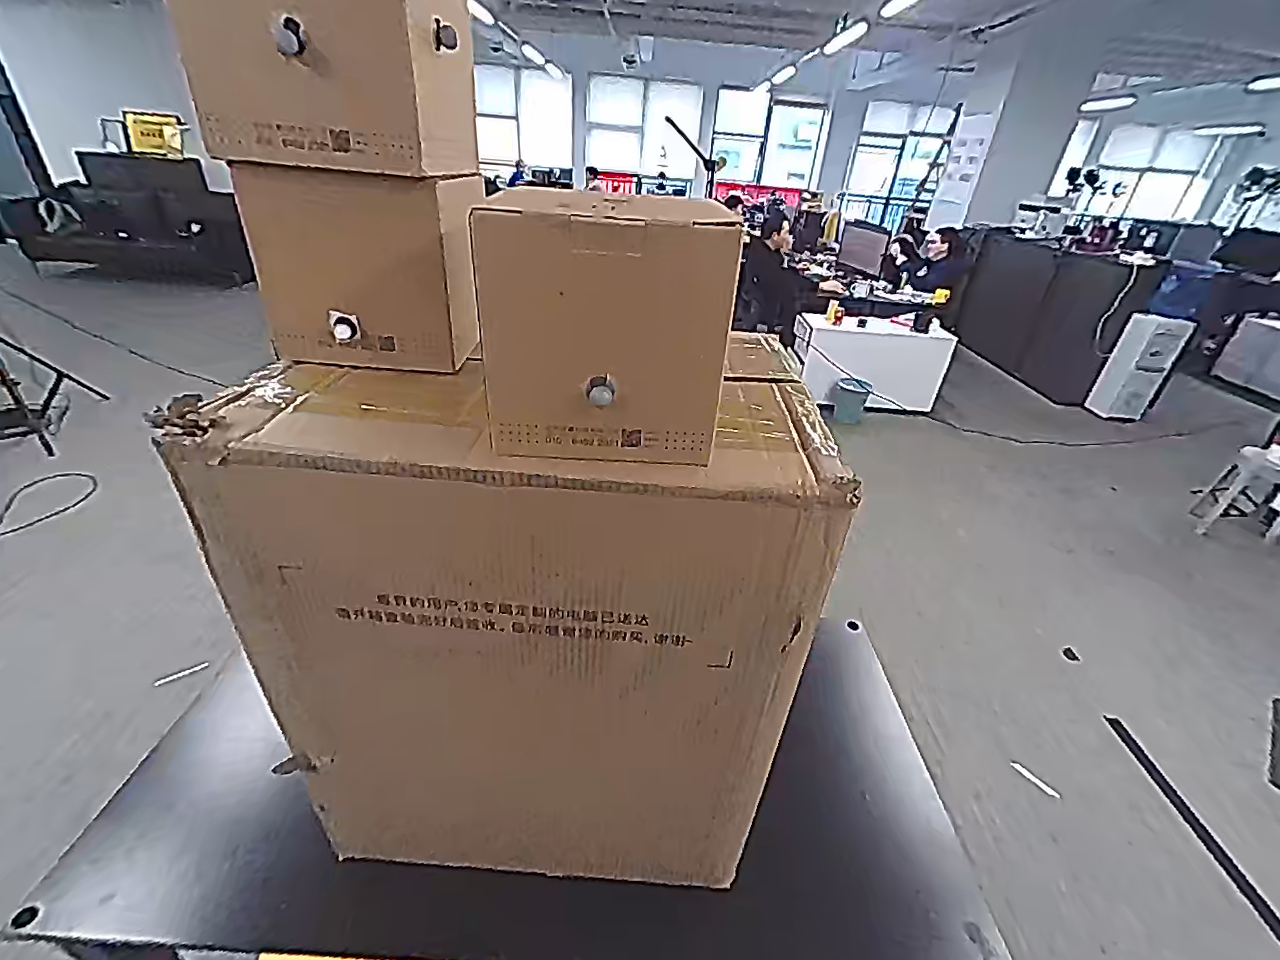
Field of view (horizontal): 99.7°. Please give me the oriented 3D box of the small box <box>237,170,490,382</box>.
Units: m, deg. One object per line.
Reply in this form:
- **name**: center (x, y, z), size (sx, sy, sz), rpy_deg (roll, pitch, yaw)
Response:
- **small box**: center (-0.252, -0.212, 0.549), size (0.168, 0.176, 0.179), rpy_deg (2, 31, -4)

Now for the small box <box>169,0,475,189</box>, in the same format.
- **small box**: center (-0.243, -0.345, 0.452), size (0.168, 0.176, 0.179), rpy_deg (3, 31, -3)

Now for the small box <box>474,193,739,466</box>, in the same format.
- **small box**: center (-0.024, -0.128, 0.438), size (0.168, 0.176, 0.179), rpy_deg (2, 32, -1)
